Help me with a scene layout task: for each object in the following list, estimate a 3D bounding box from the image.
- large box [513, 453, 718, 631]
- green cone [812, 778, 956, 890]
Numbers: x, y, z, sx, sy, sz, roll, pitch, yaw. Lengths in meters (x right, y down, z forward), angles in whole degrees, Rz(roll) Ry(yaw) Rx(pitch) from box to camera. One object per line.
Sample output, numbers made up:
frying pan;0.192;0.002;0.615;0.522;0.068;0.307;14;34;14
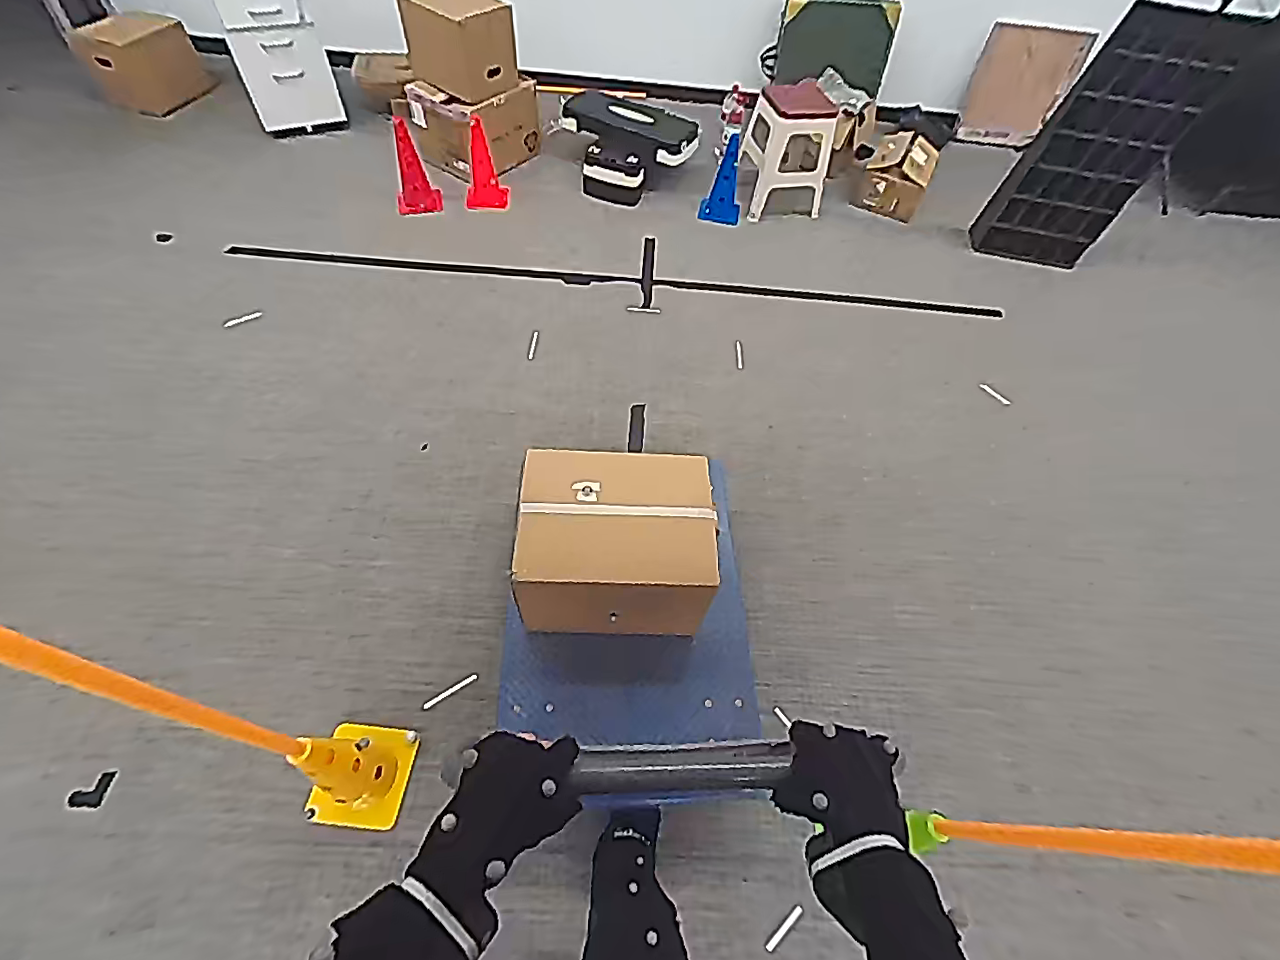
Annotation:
large box;-0.055;0.154;1.248;0.408;0.320;0.320;2;57;-3
green cone;0.513;0.708;1.096;0.202;0.368;0.200;9;55;-1
